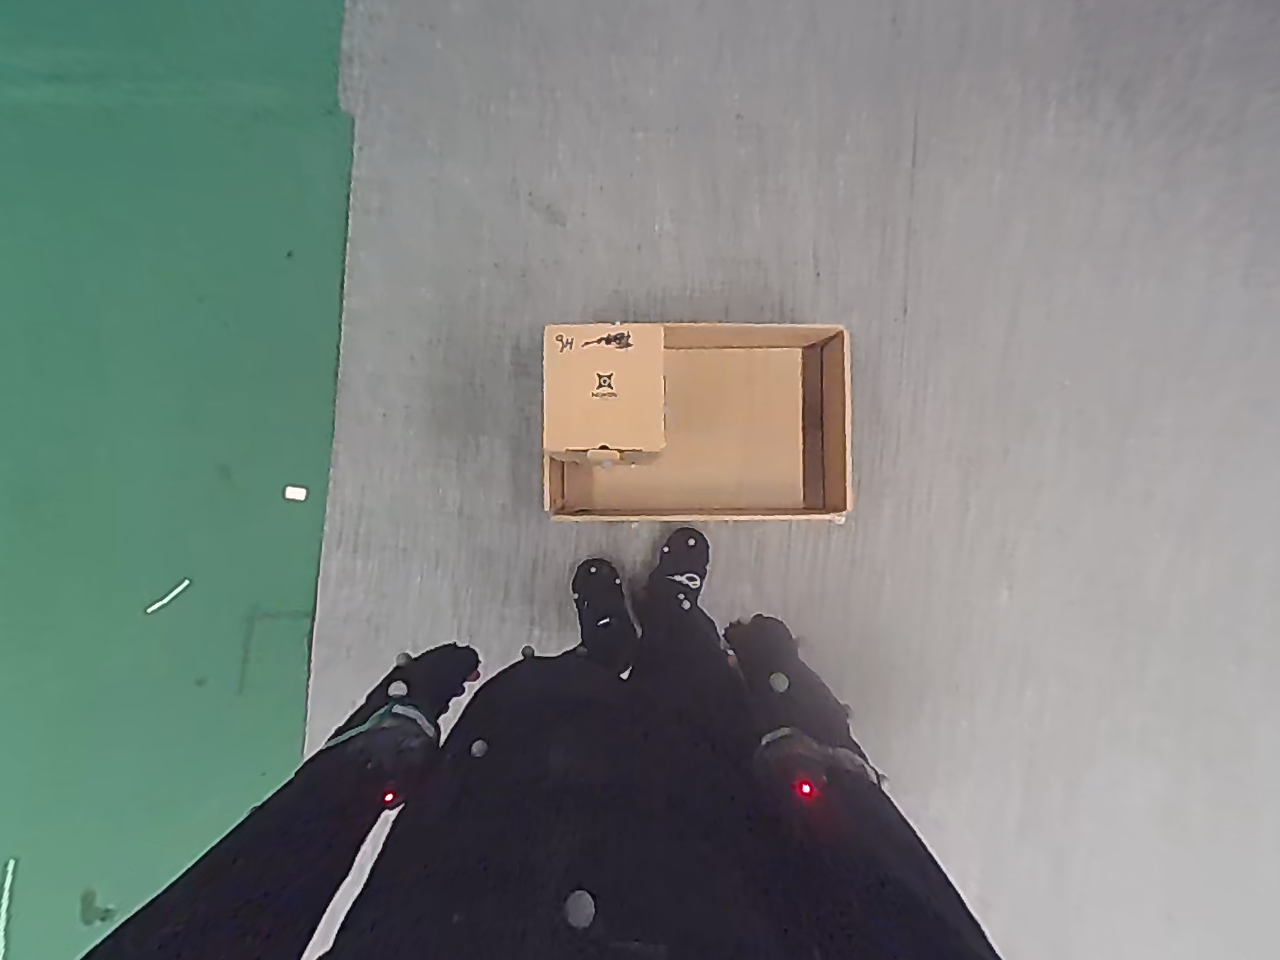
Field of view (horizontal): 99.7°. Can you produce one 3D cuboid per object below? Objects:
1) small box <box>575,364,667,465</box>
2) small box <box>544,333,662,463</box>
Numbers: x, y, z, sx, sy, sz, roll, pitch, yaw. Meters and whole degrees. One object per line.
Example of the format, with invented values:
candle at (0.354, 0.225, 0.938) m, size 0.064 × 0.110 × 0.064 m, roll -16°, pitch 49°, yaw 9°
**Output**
small box at (-0.044, -0.115, 0.987) m, size 0.179 × 0.176 × 0.168 m, roll 0°, pitch 88°, yaw 0°
small box at (-0.050, -0.116, 0.824) m, size 0.168 × 0.176 × 0.179 m, roll 0°, pitch 89°, yaw 0°
